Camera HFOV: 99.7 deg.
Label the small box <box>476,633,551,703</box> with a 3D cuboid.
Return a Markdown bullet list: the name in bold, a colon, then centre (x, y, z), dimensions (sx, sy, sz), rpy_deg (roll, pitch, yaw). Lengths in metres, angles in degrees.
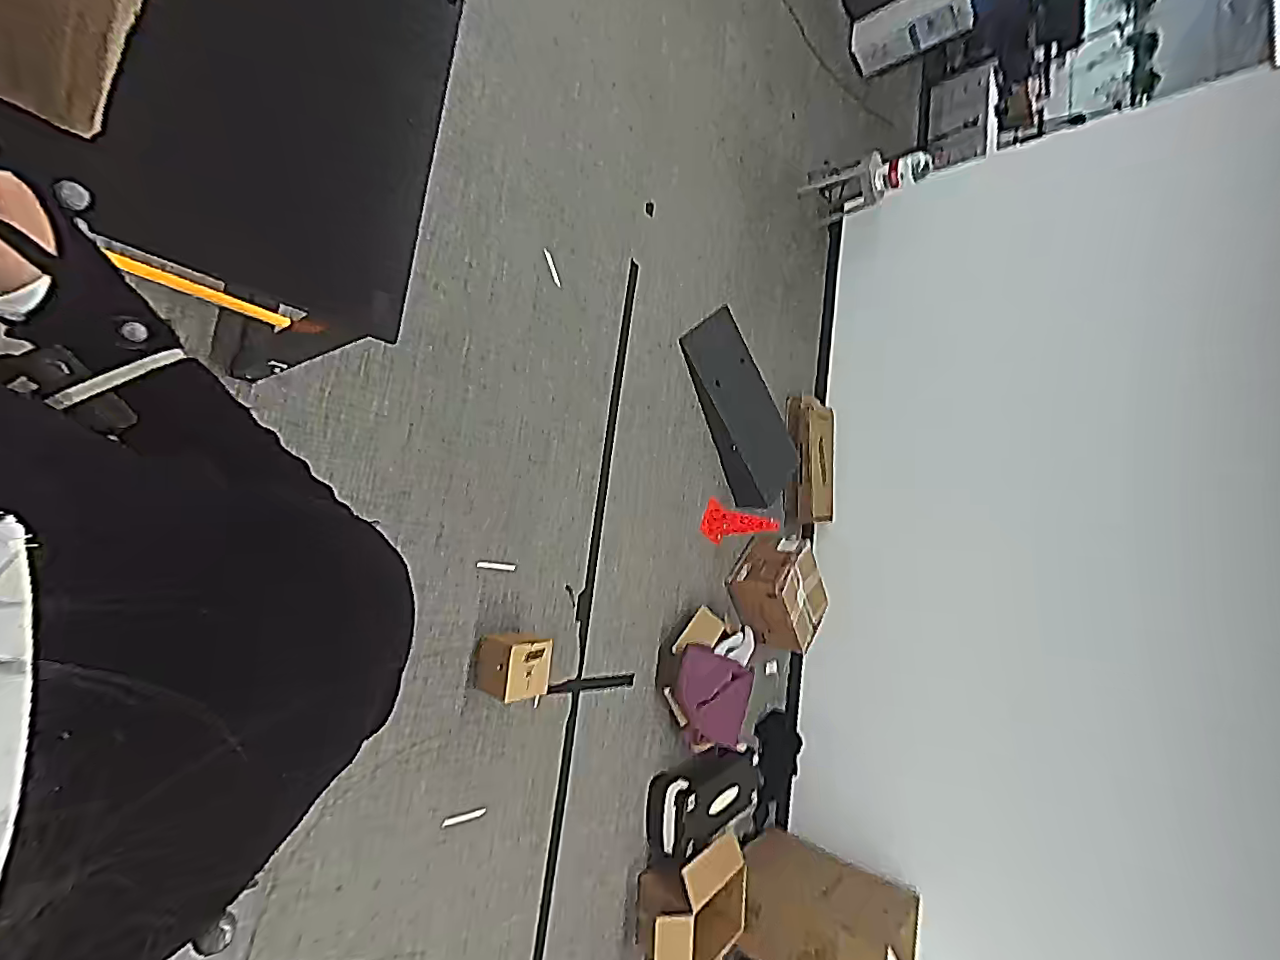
- **small box**: centre (-0.414, 0.602, 1.756), dimensions (0.168, 0.176, 0.179), rpy_deg (11, 83, -49)
